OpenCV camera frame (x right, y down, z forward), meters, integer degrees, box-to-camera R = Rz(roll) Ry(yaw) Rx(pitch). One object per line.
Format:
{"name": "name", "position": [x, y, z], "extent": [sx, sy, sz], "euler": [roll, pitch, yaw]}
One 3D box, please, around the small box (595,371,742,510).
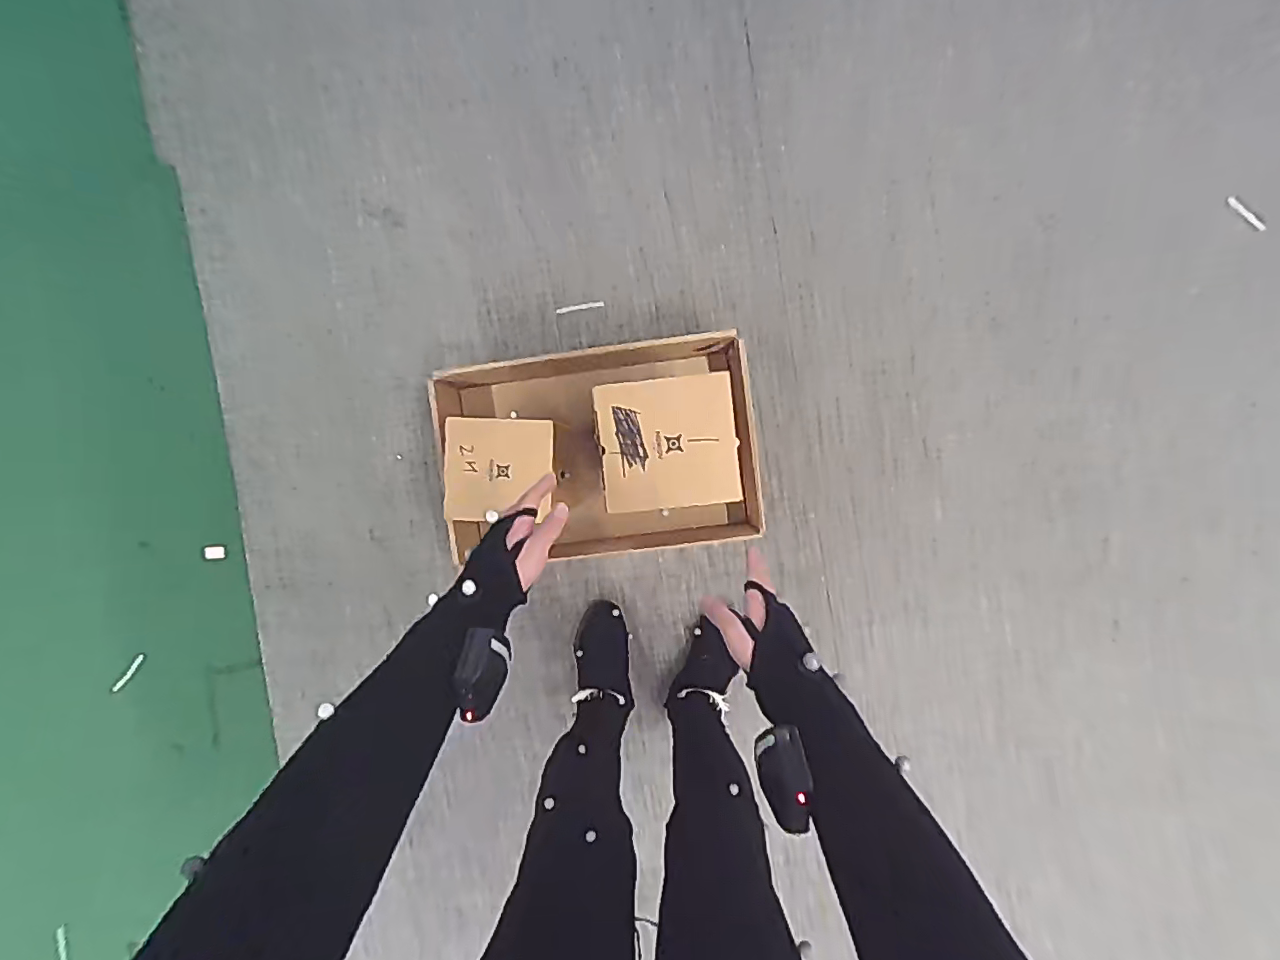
{"name": "small box", "position": [0.041, -0.051, 0.760], "extent": [0.179, 0.176, 0.168], "euler": [-6, 92, 3]}
